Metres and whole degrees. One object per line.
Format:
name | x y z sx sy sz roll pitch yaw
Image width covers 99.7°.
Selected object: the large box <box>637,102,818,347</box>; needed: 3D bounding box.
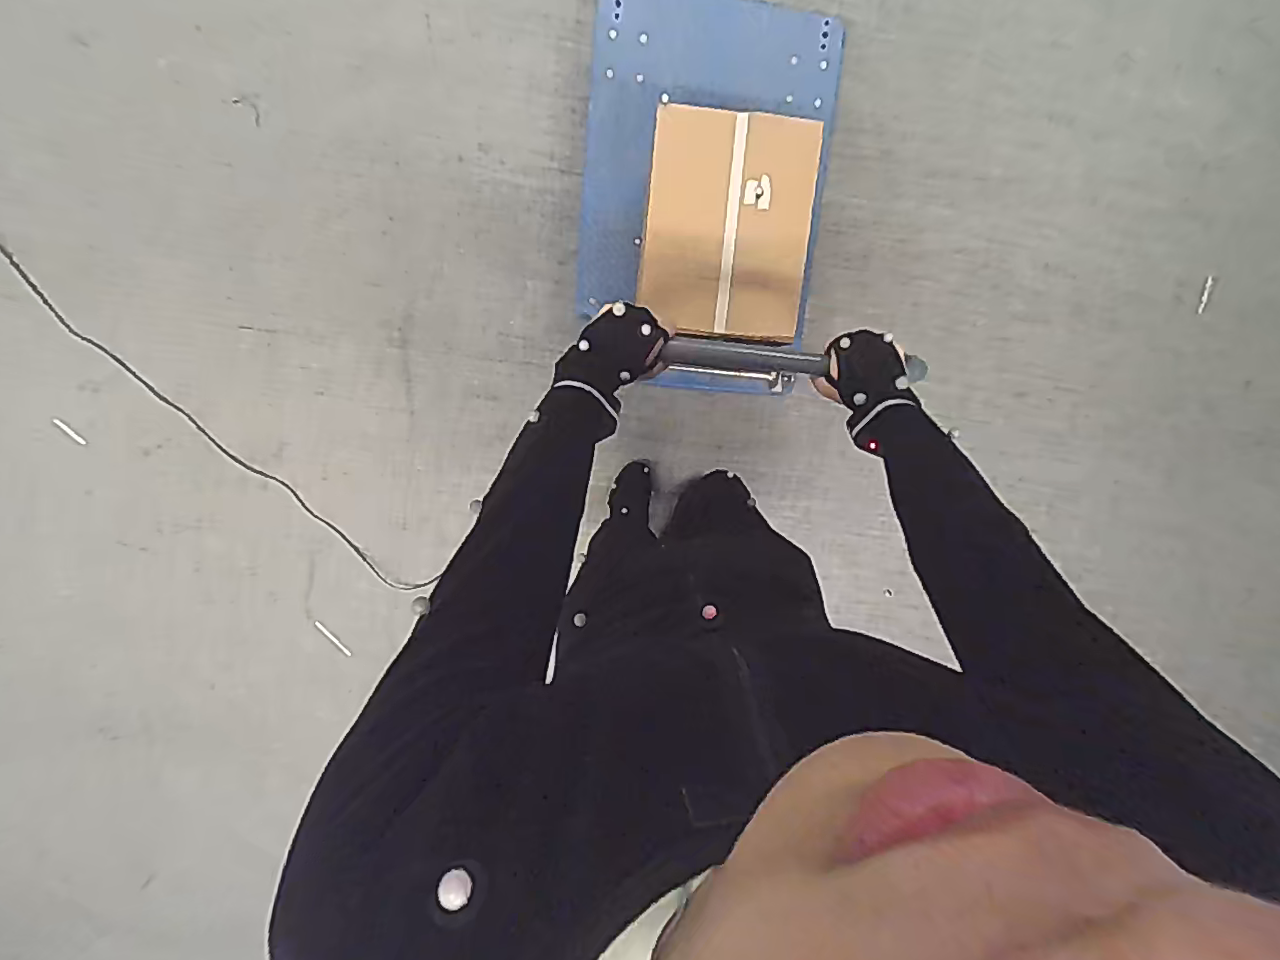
large box | 0.160 -0.511 1.173 0.320 0.320 0.408 5 100 -4
